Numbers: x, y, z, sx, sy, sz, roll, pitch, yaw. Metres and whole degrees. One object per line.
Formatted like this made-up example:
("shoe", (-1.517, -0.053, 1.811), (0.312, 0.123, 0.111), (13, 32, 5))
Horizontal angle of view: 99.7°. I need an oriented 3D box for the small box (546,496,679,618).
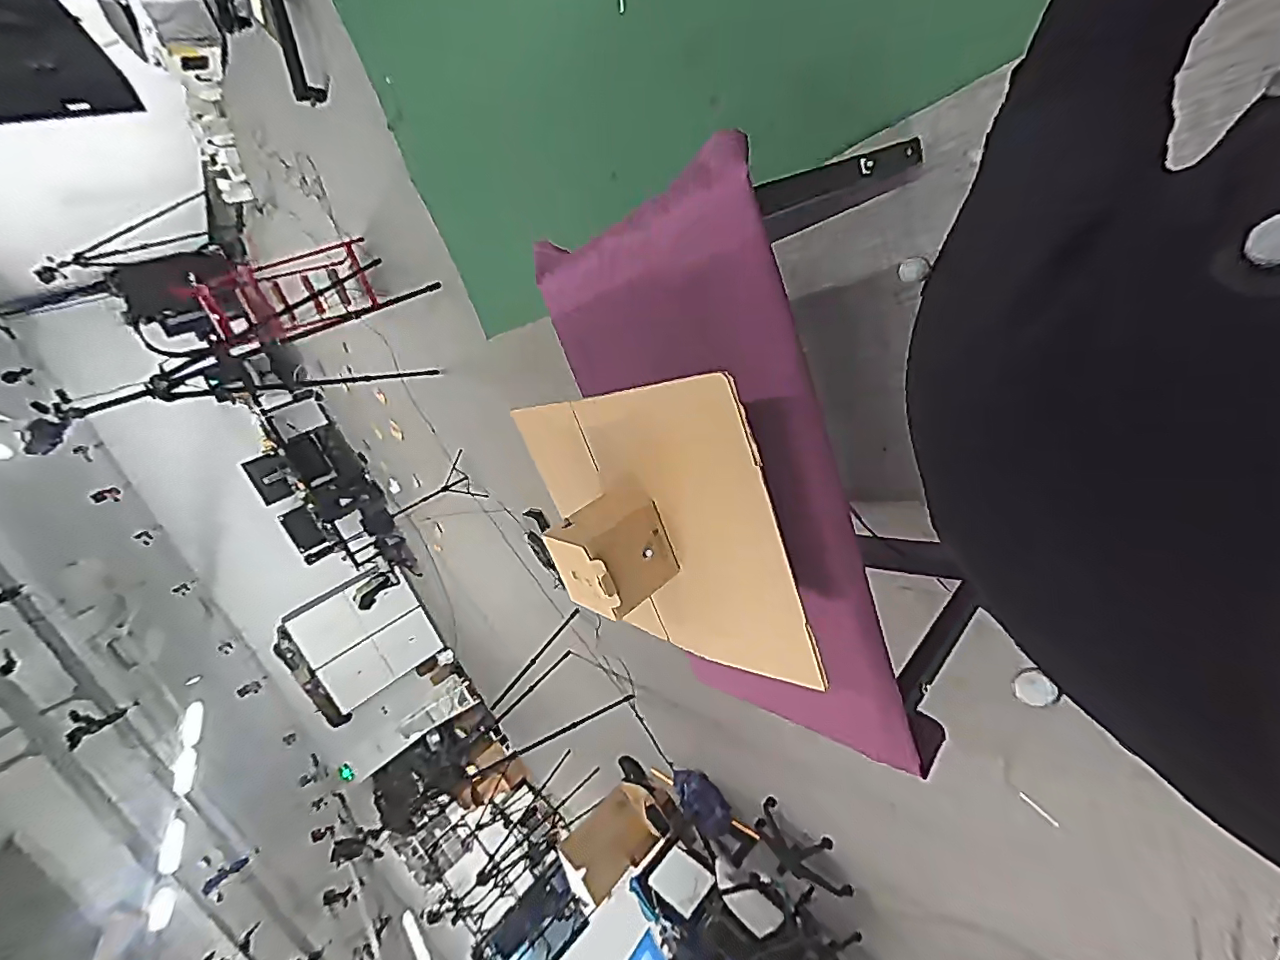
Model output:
("small box", (-0.053, 0.142, 1.078), (0.179, 0.176, 0.168), (4, 120, 52))
